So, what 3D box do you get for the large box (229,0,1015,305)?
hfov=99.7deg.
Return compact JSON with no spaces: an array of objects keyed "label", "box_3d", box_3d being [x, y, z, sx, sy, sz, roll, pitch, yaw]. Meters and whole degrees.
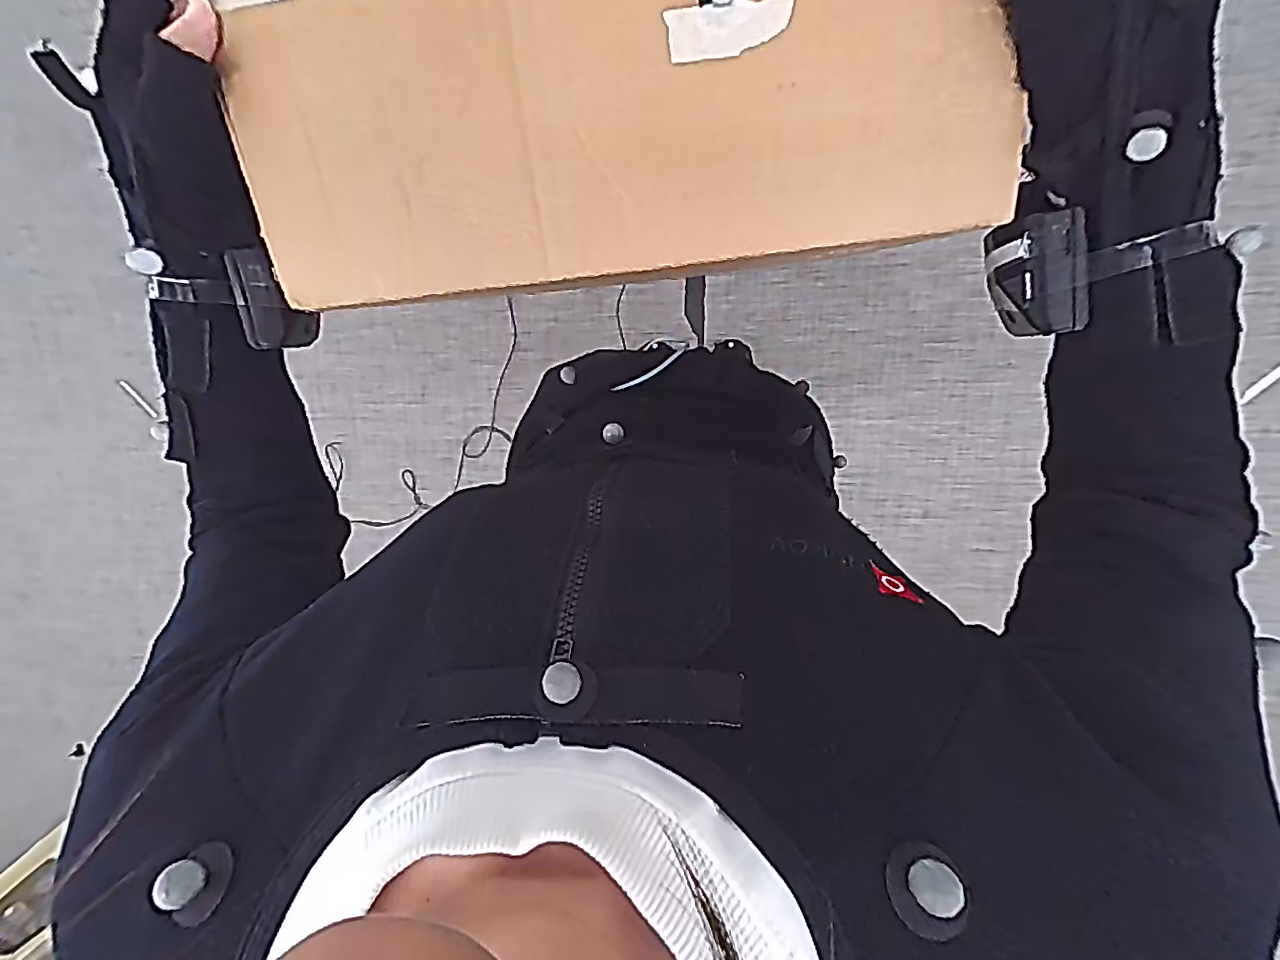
[{"label":"large box","box_3d":[-0.011,-0.320,0.402,0.408,0.320,0.320,-4,110,8]}]
